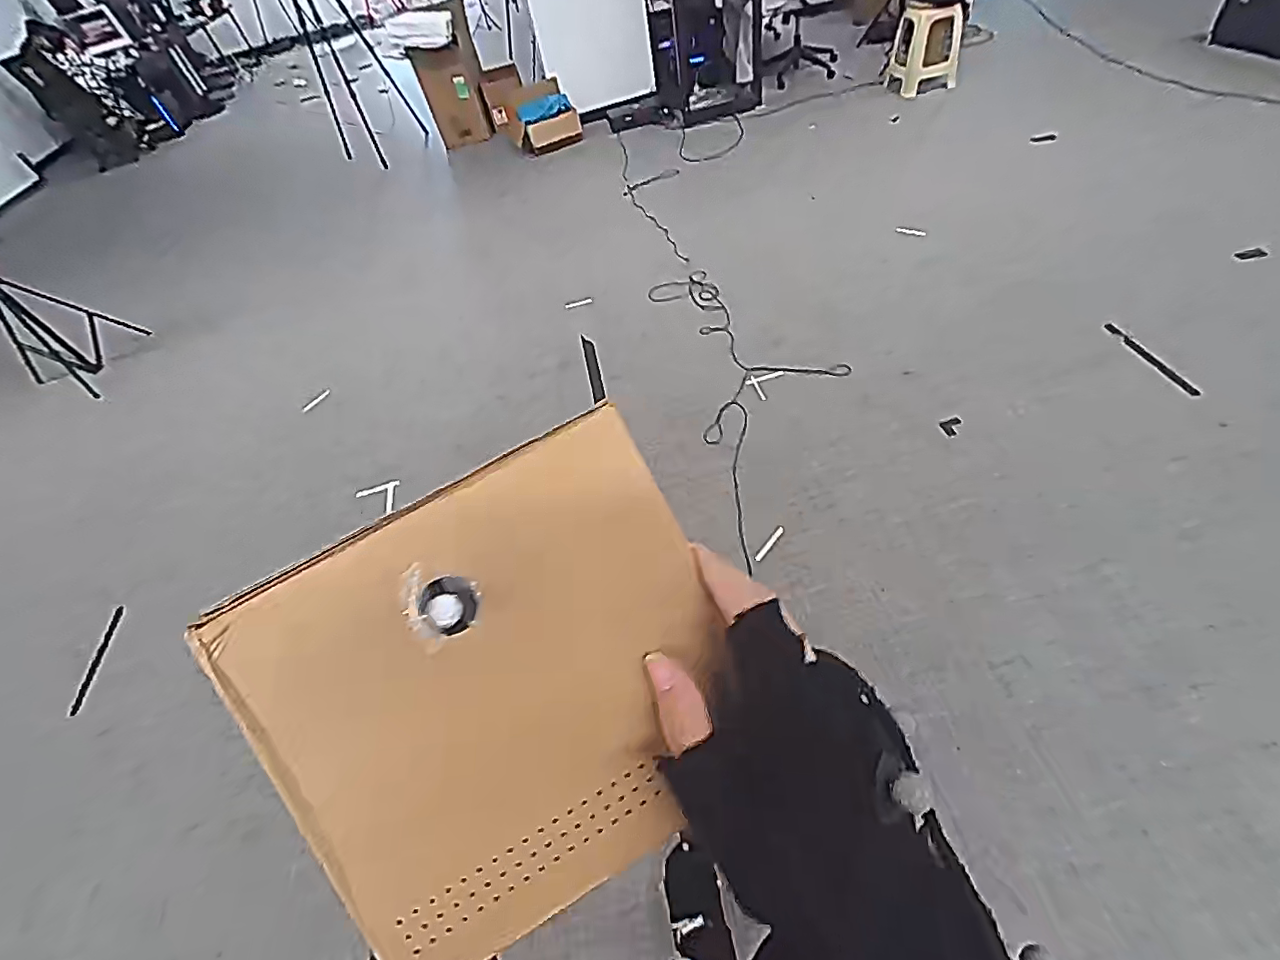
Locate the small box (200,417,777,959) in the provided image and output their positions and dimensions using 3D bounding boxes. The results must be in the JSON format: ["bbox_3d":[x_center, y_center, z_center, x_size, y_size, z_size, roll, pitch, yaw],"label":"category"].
[{"bbox_3d":[-0.060,0.088,0.290,0.179,0.168,0.176,-29,93,-6],"label":"small box"}]
